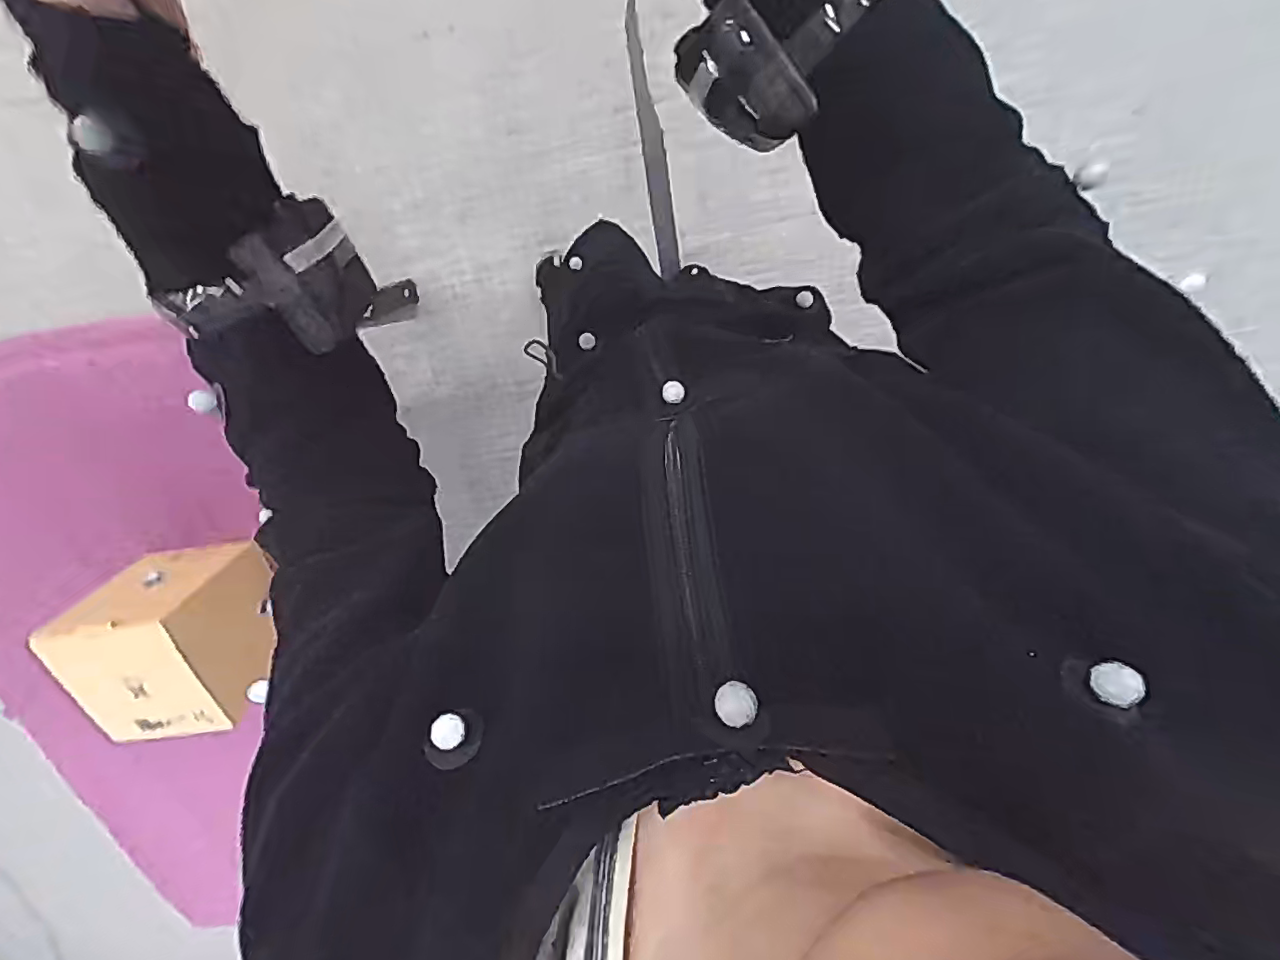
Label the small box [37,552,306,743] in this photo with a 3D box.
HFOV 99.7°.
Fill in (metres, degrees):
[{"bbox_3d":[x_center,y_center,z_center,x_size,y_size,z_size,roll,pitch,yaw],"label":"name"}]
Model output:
[{"bbox_3d":[-0.592,0.210,0.715,0.168,0.176,0.179,-8,116,4],"label":"small box"}]
